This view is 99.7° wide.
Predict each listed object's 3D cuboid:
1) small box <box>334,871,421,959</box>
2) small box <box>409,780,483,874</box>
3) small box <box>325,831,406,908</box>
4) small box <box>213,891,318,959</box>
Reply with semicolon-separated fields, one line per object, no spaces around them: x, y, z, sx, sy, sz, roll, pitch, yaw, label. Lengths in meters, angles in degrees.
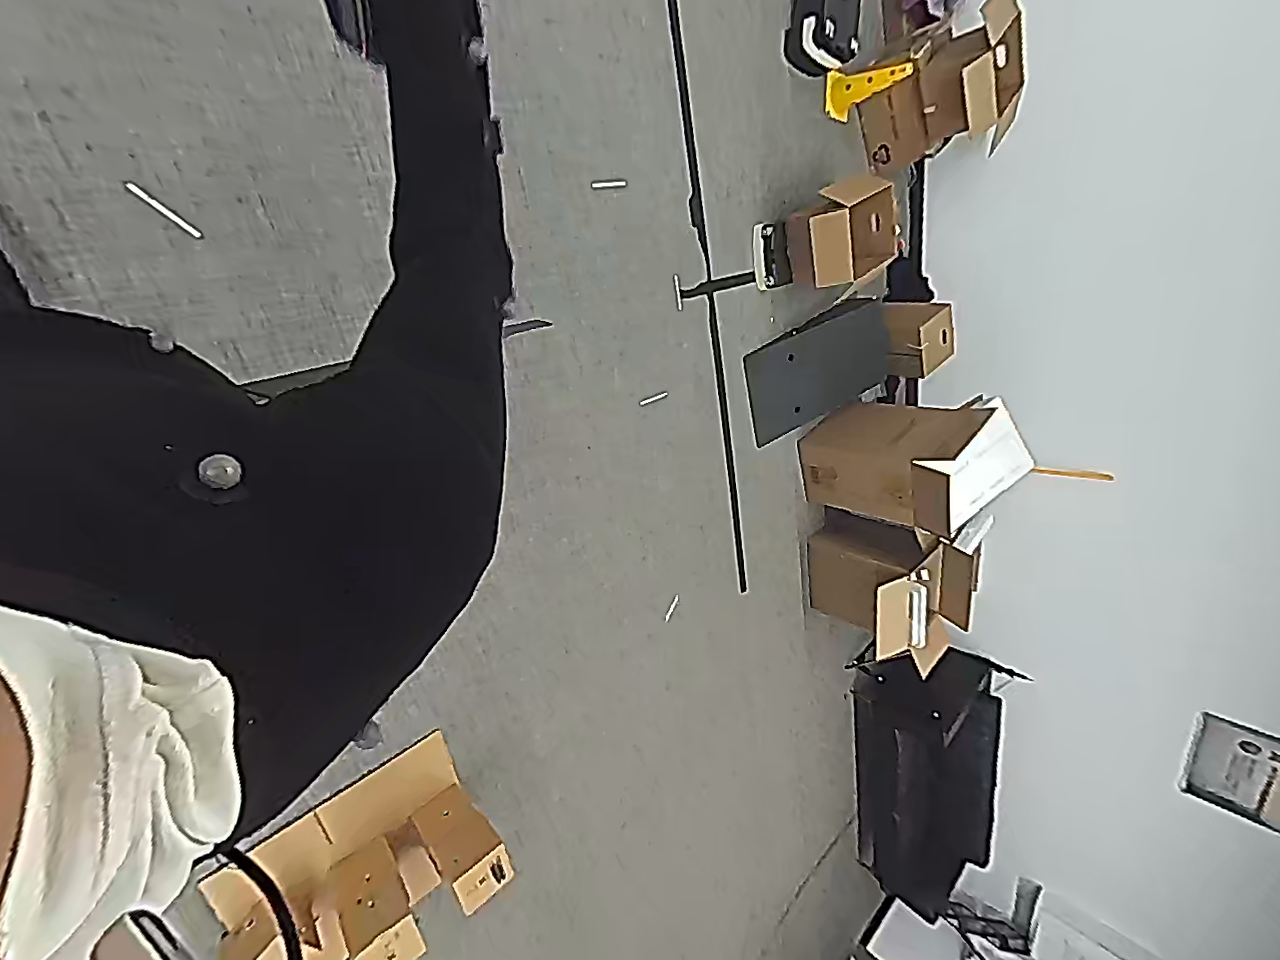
-0.774;1.315;1.591;0.168;0.176;0.179;-23;116;-36;small box
-0.678;1.193;1.872;0.179;0.176;0.168;-26;118;-37;small box
-0.876;1.278;1.716;0.179;0.176;0.168;-24;116;-36;small box
-1.073;1.330;1.548;0.168;0.176;0.179;-46;128;-25;small box
